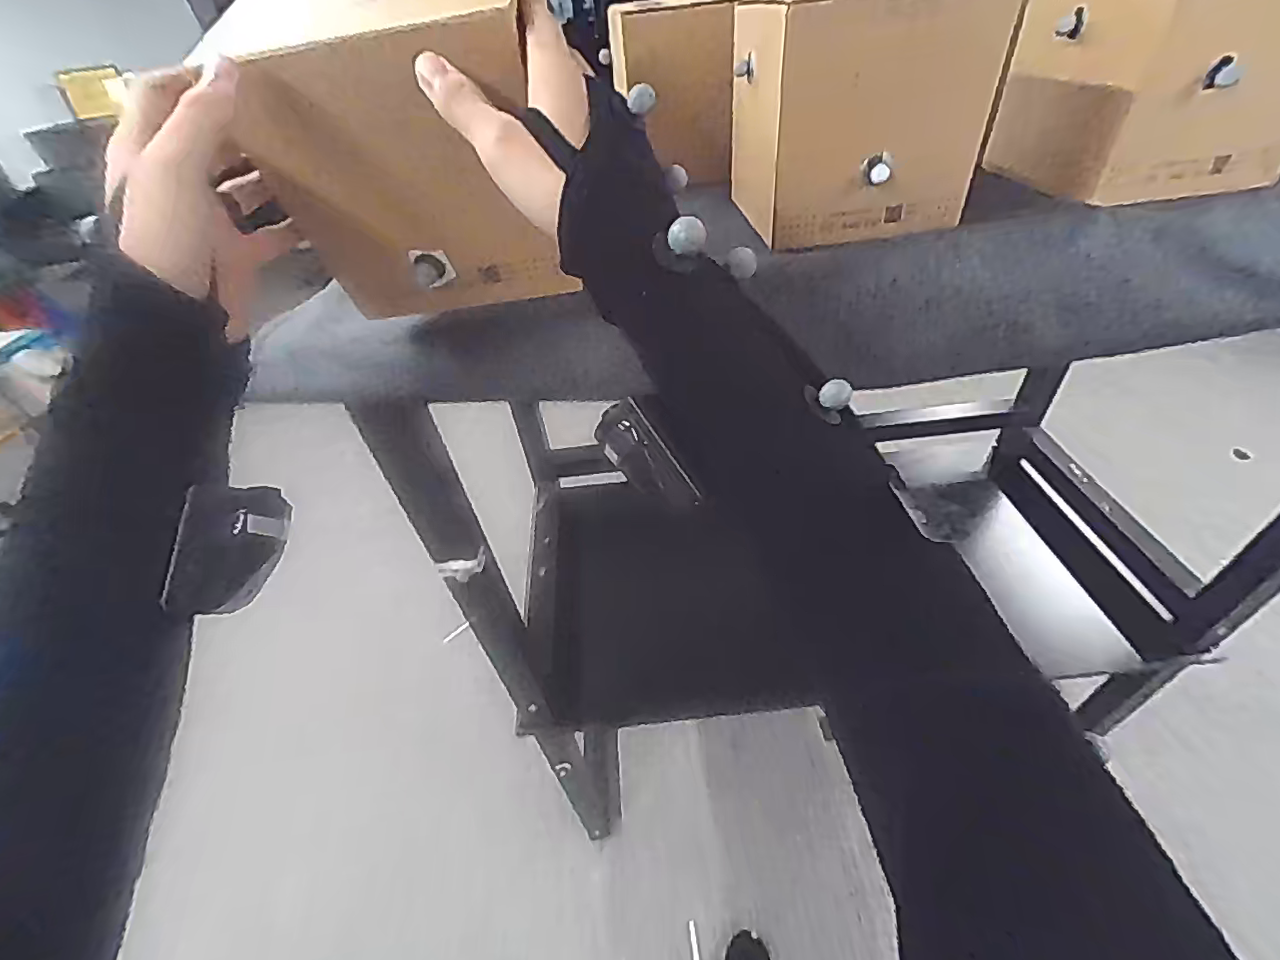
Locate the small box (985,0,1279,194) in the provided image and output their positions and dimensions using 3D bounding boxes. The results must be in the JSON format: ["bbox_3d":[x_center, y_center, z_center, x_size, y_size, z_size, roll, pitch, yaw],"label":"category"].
[{"bbox_3d":[0.457,-0.370,0.487,0.168,0.176,0.179,-7,40,1],"label":"small box"}]

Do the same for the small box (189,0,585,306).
[{"bbox_3d":[-0.136,-0.249,0.369,0.168,0.176,0.179,-8,58,4],"label":"small box"}]
